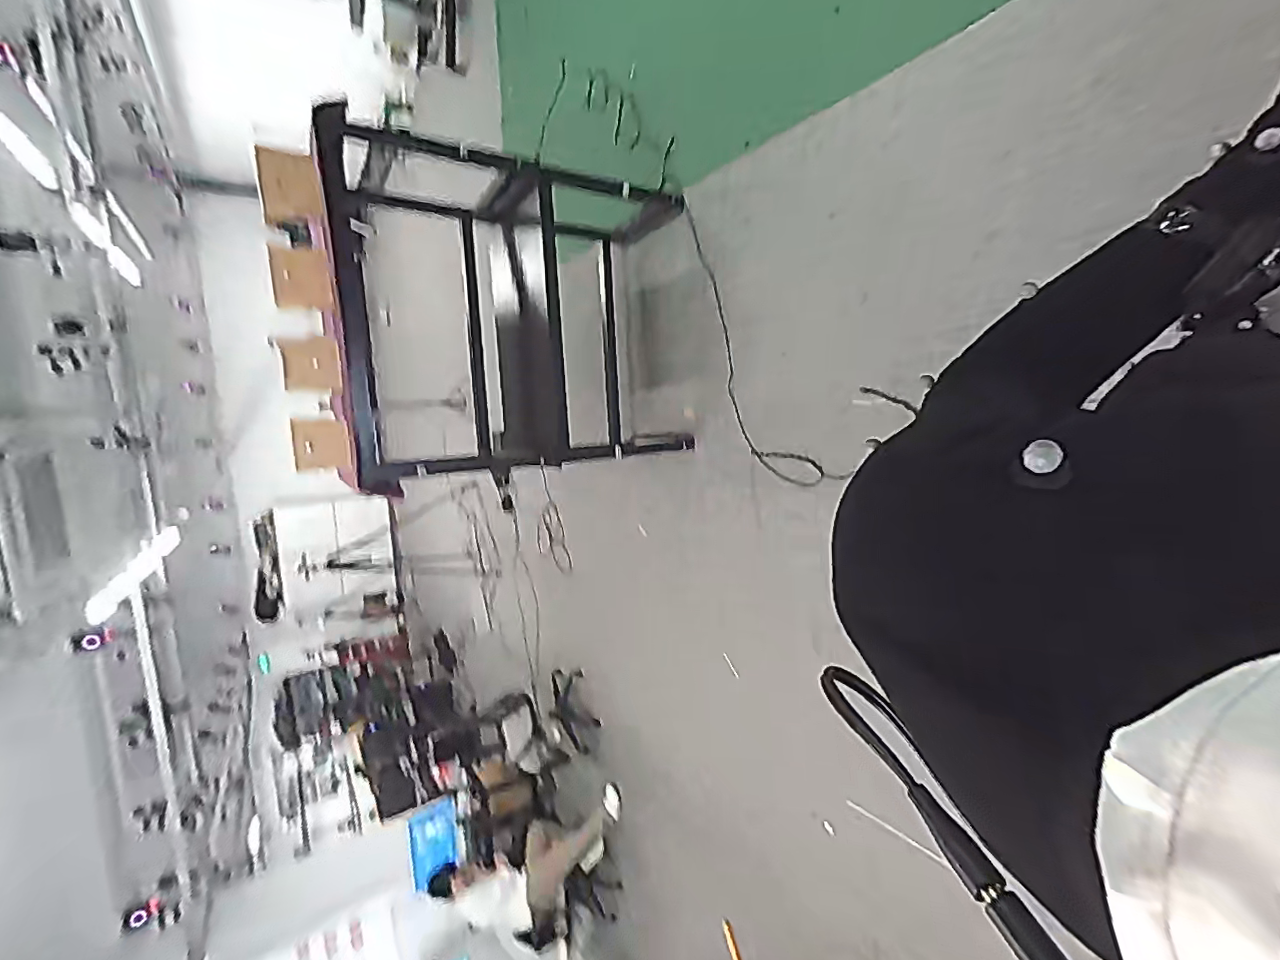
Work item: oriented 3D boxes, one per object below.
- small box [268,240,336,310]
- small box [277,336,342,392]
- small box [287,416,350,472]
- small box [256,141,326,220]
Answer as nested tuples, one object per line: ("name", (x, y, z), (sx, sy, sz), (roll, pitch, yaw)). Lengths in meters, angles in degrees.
("small box", (-1.107, -0.664, 1.771), (0.168, 0.176, 0.179), (9, 104, 57))
("small box", (-1.097, -0.383, 1.802), (0.179, 0.176, 0.168), (6, 100, 57))
("small box", (-1.087, -0.123, 1.830), (0.168, 0.176, 0.179), (4, 98, 56))
("small box", (-1.117, -0.949, 1.732), (0.168, 0.176, 0.179), (13, 107, 54))
